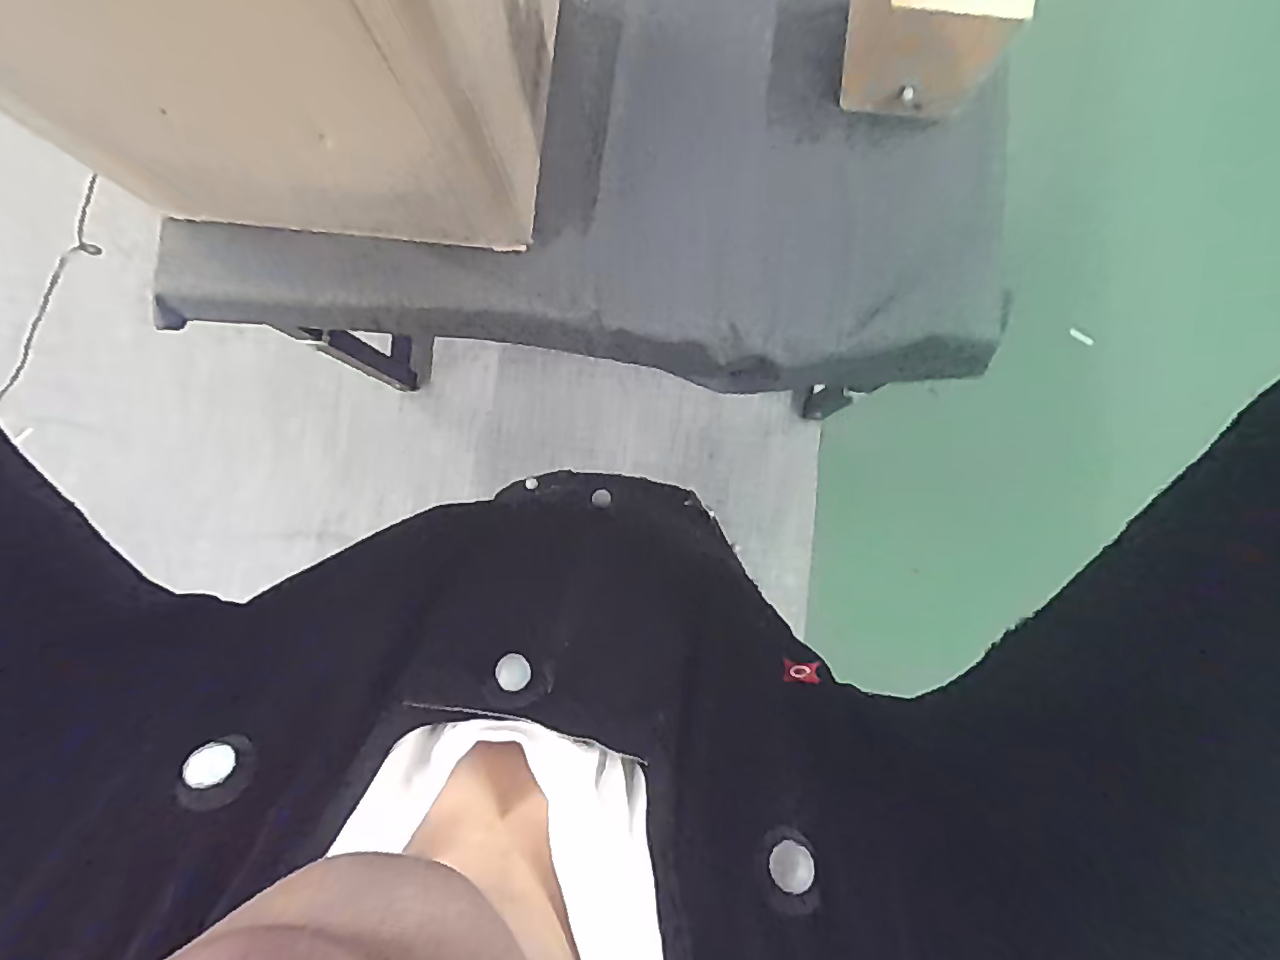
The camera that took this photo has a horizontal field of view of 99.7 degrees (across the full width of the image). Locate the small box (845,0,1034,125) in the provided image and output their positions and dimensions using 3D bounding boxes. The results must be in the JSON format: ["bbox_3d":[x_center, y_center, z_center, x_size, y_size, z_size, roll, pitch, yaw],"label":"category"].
[{"bbox_3d":[0.387,-0.619,0.716,0.168,0.176,0.179,7,87,1],"label":"small box"}]
